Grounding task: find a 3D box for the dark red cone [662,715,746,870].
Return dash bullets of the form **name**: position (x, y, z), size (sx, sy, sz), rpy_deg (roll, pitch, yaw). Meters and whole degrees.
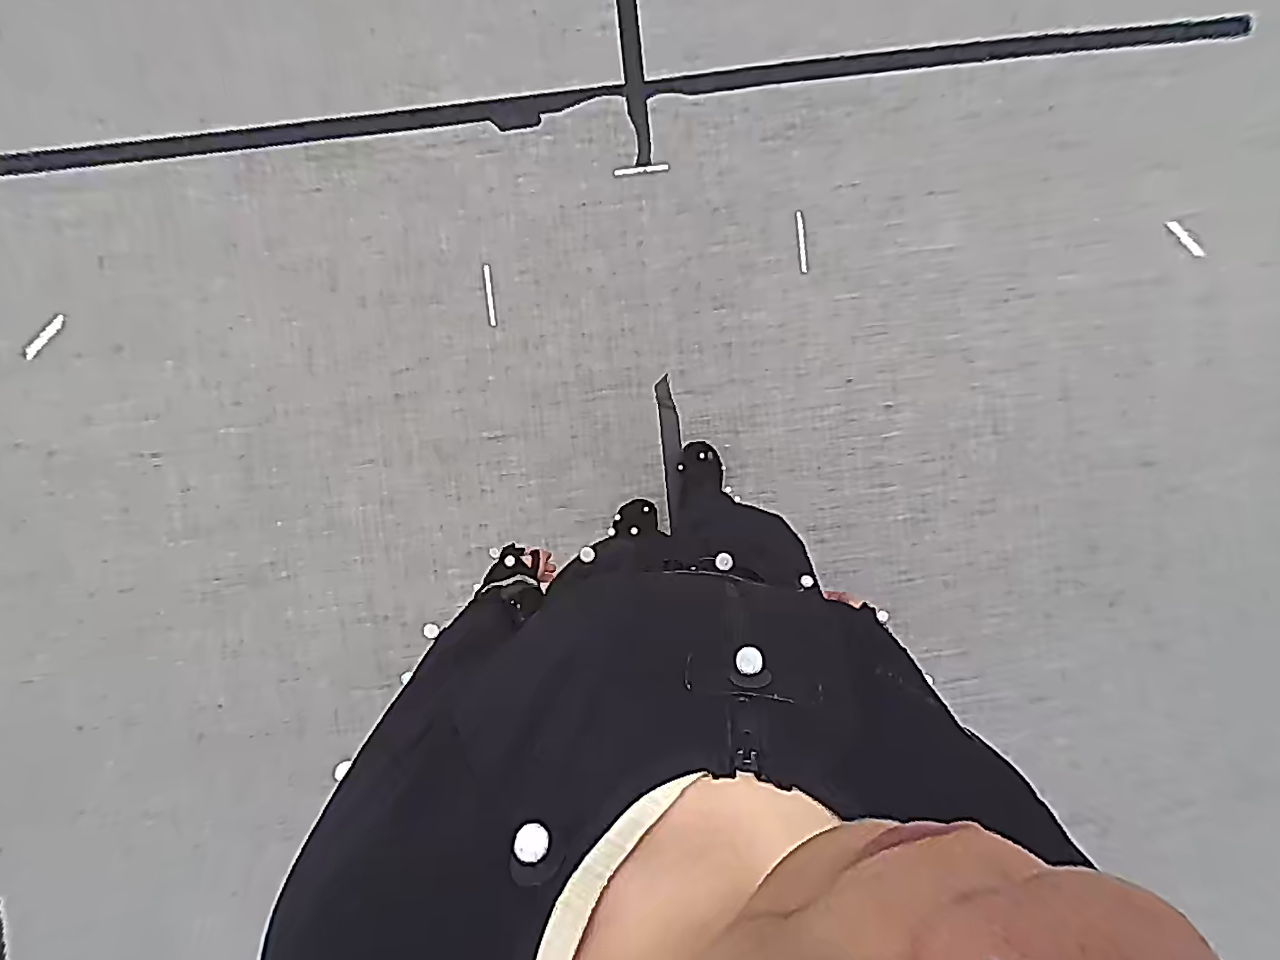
- **dark red cone**: position (0.168, 0.711, 1.222), size (0.201, 0.394, 0.202), rpy_deg (-7, 93, -1)
